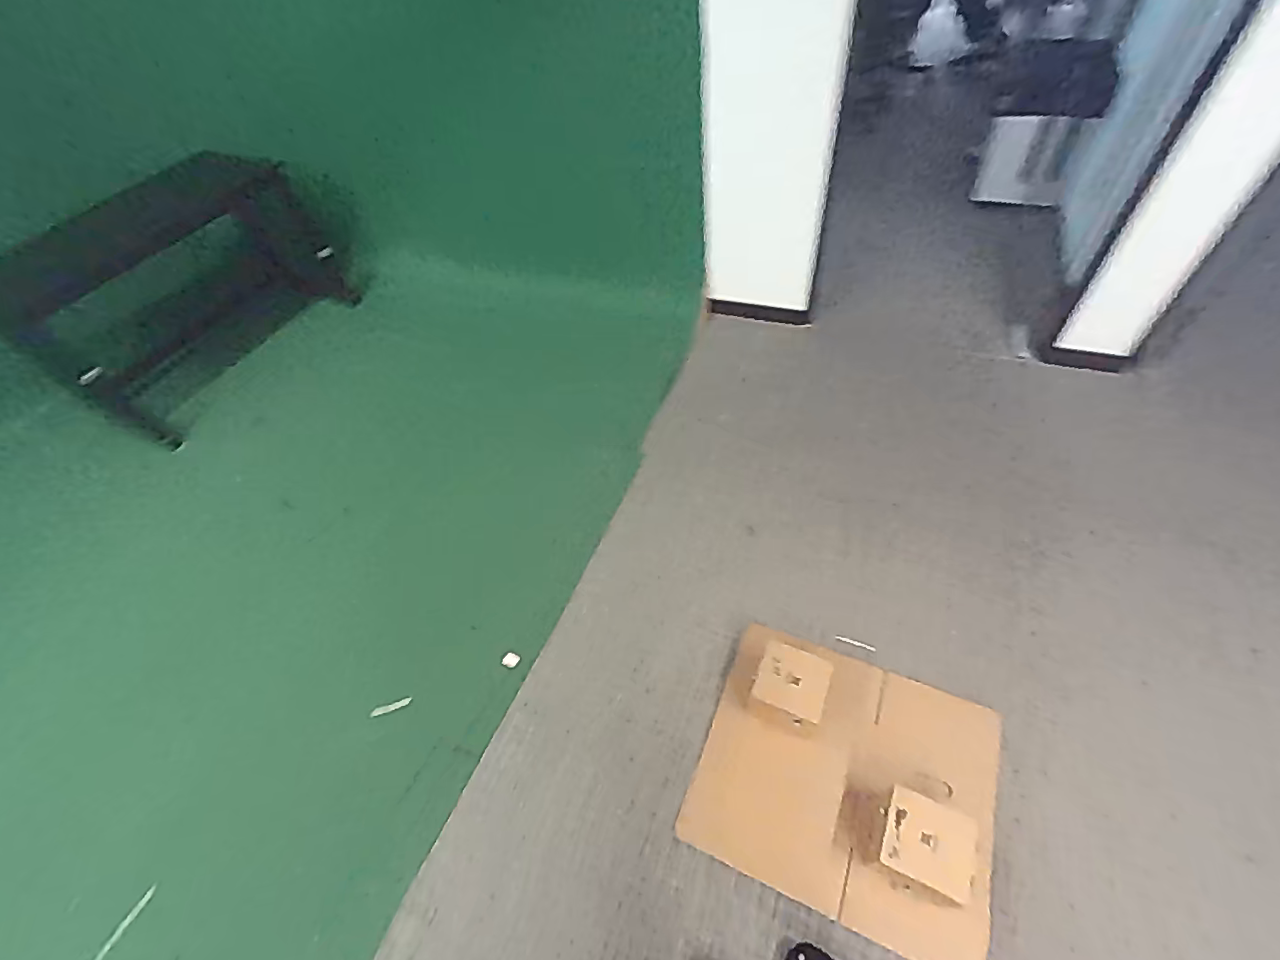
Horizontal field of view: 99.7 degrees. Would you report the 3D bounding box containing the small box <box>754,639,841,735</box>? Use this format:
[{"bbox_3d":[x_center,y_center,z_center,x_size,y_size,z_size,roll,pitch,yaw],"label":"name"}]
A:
[{"bbox_3d":[0.413,0.556,1.437,0.179,0.176,0.168,18,57,21],"label":"small box"}]

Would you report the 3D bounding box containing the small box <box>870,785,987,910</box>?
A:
[{"bbox_3d":[0.638,0.817,1.208,0.179,0.176,0.168,19,57,21],"label":"small box"}]
